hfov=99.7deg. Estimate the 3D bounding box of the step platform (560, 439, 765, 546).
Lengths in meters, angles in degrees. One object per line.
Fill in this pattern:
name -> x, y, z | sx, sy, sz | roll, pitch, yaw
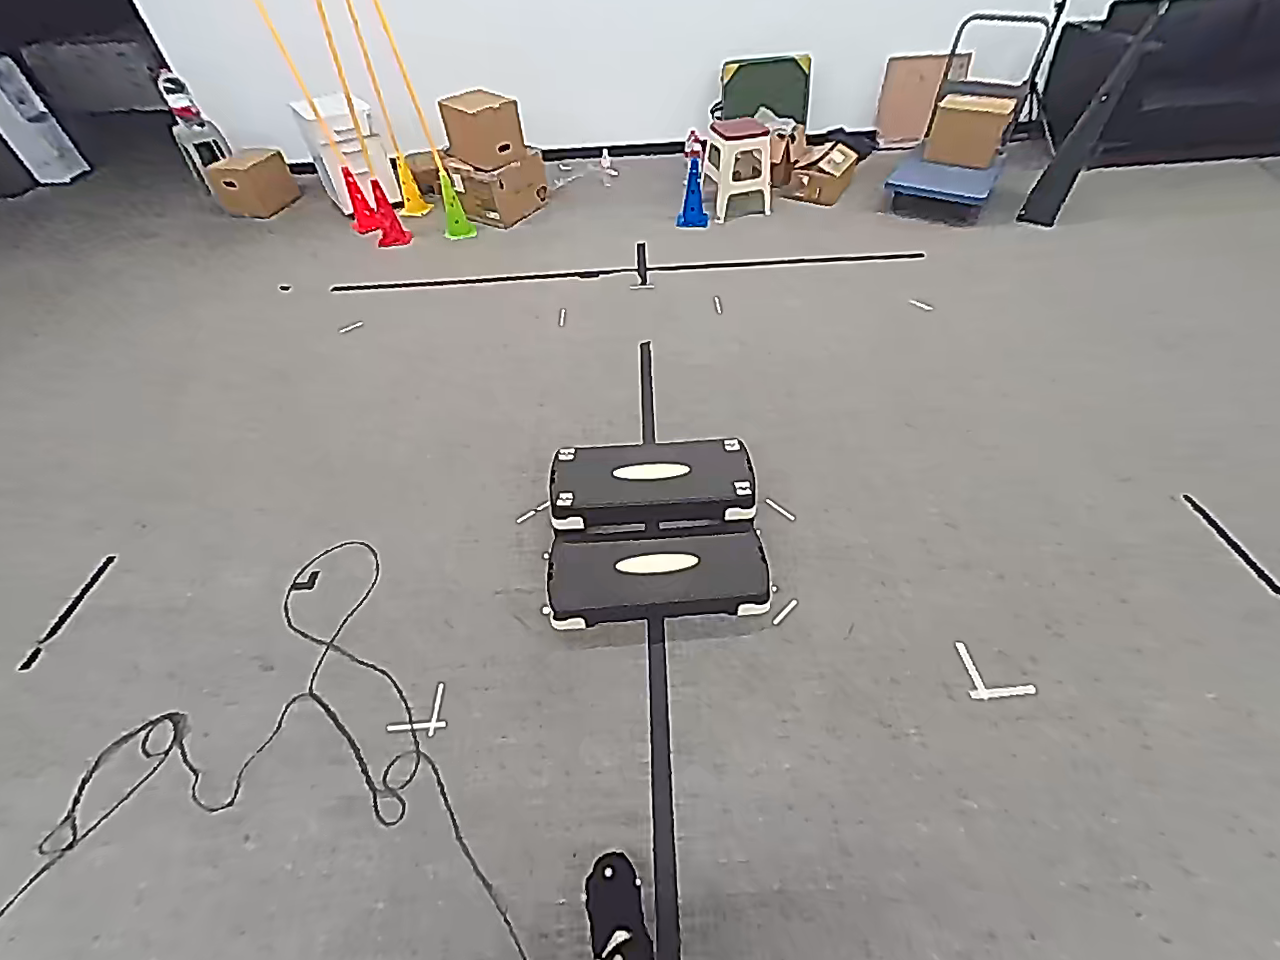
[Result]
step platform -> 0.072, 0.035, 1.837 | 0.684, 0.204, 0.286 | -4, 48, -1
